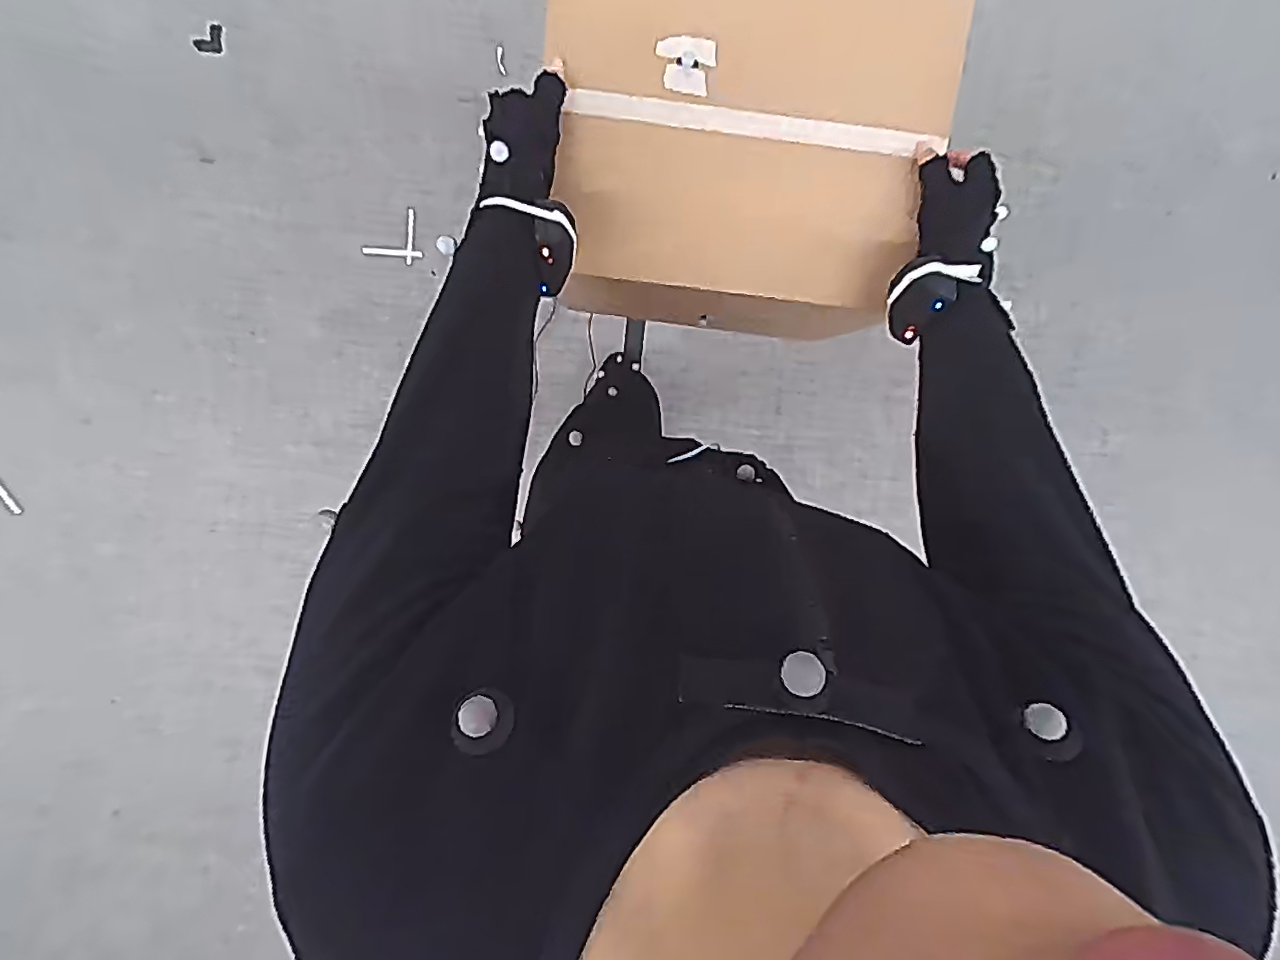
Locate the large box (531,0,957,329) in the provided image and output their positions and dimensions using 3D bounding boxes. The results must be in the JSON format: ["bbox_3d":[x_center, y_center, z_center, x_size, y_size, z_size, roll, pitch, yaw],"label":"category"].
[{"bbox_3d":[0.099,-0.381,0.691,0.408,0.320,0.320,7,99,-2],"label":"large box"}]
